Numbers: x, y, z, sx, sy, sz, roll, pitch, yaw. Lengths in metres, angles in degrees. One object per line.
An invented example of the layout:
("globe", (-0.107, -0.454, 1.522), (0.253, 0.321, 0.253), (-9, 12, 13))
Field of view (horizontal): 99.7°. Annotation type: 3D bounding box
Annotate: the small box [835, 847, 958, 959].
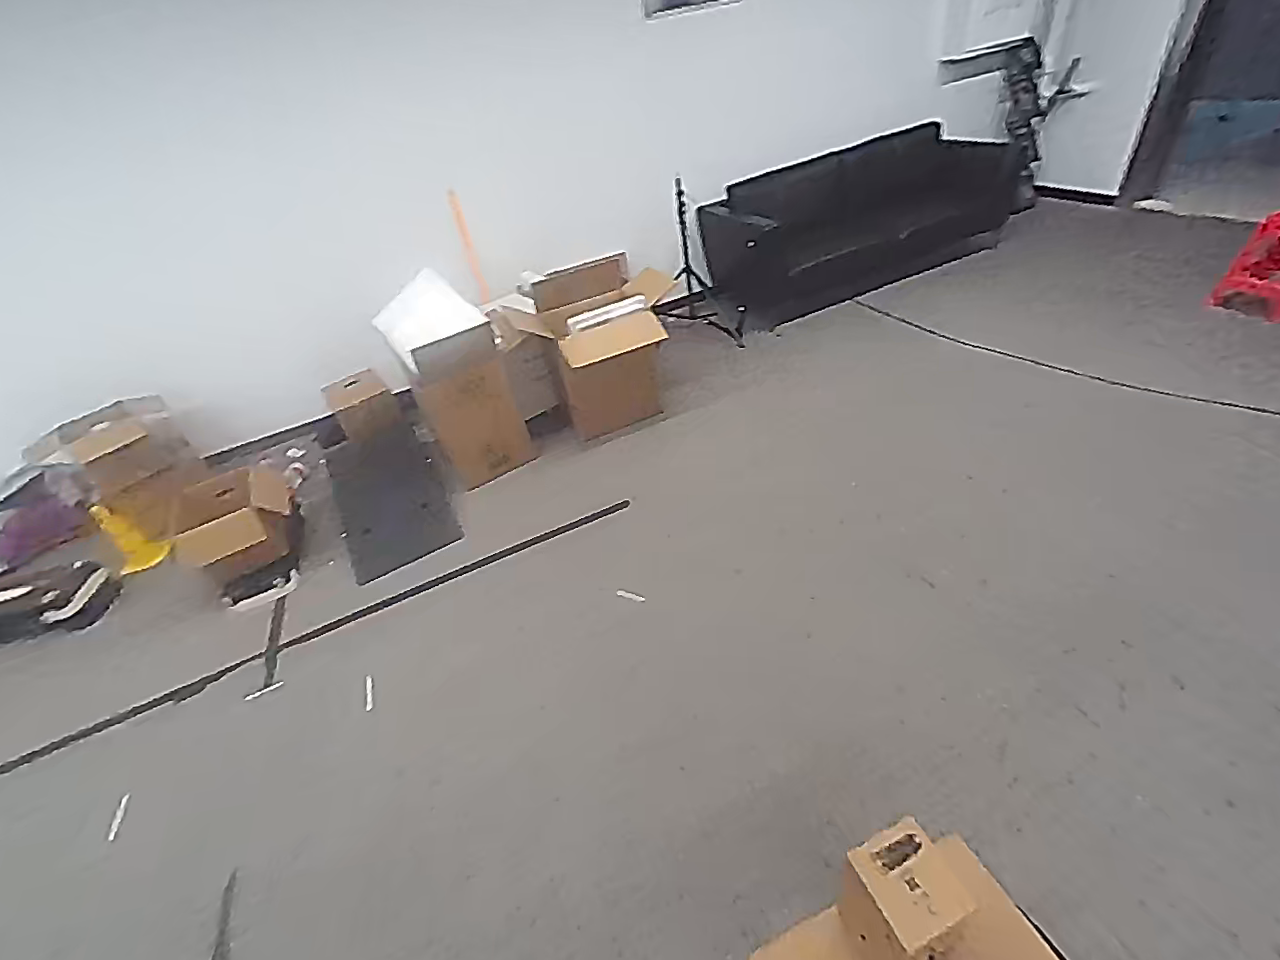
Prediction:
("small box", (0.554, 0.965, 1.191), (0.168, 0.176, 0.179), (-20, 38, -12))
